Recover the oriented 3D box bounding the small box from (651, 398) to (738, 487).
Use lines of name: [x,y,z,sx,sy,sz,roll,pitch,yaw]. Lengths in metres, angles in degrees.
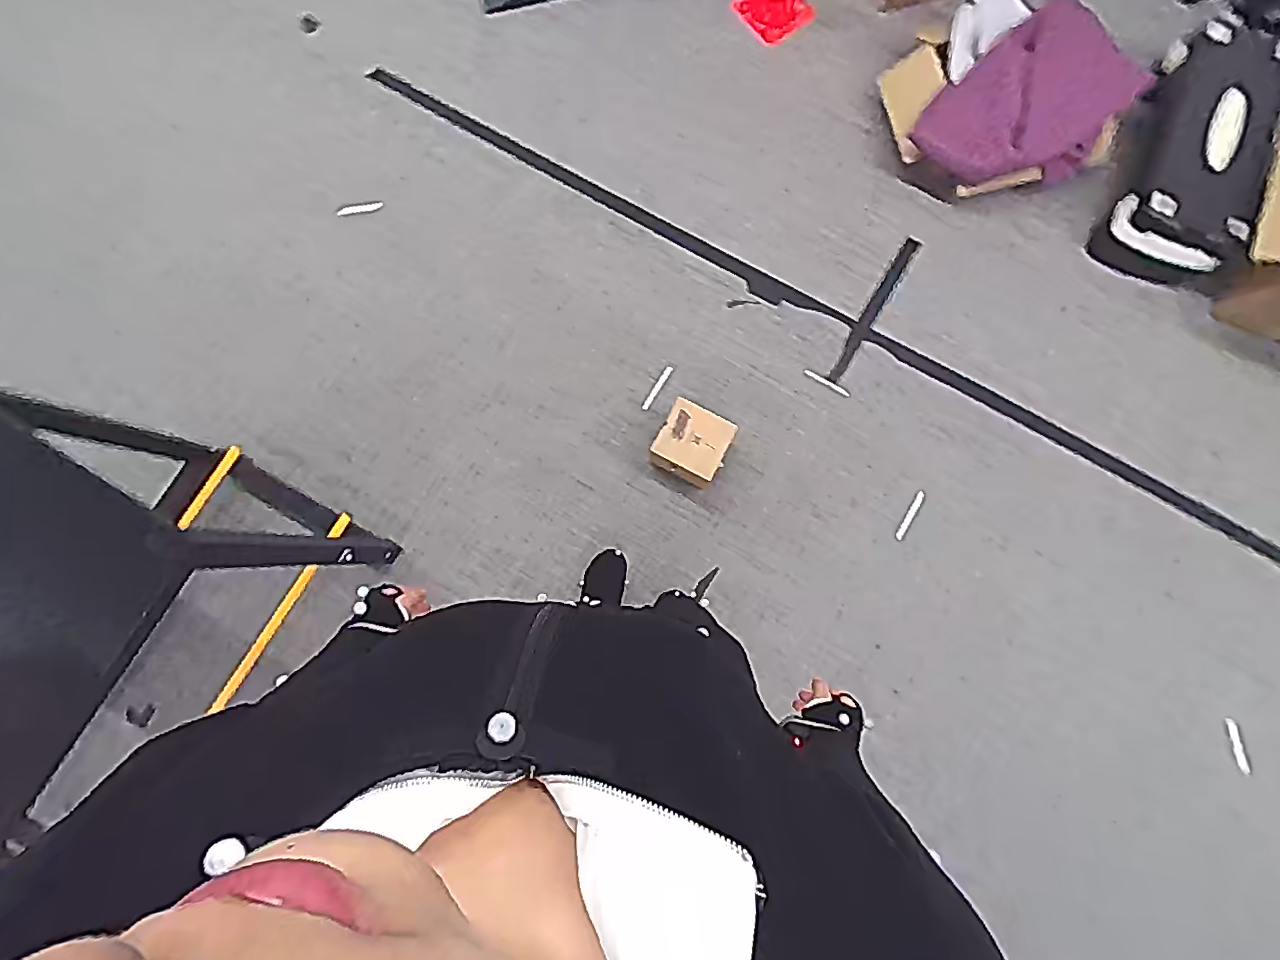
small box: [0.142,-0.093,1.472,0.179,0.176,0.168,28,83,4]
